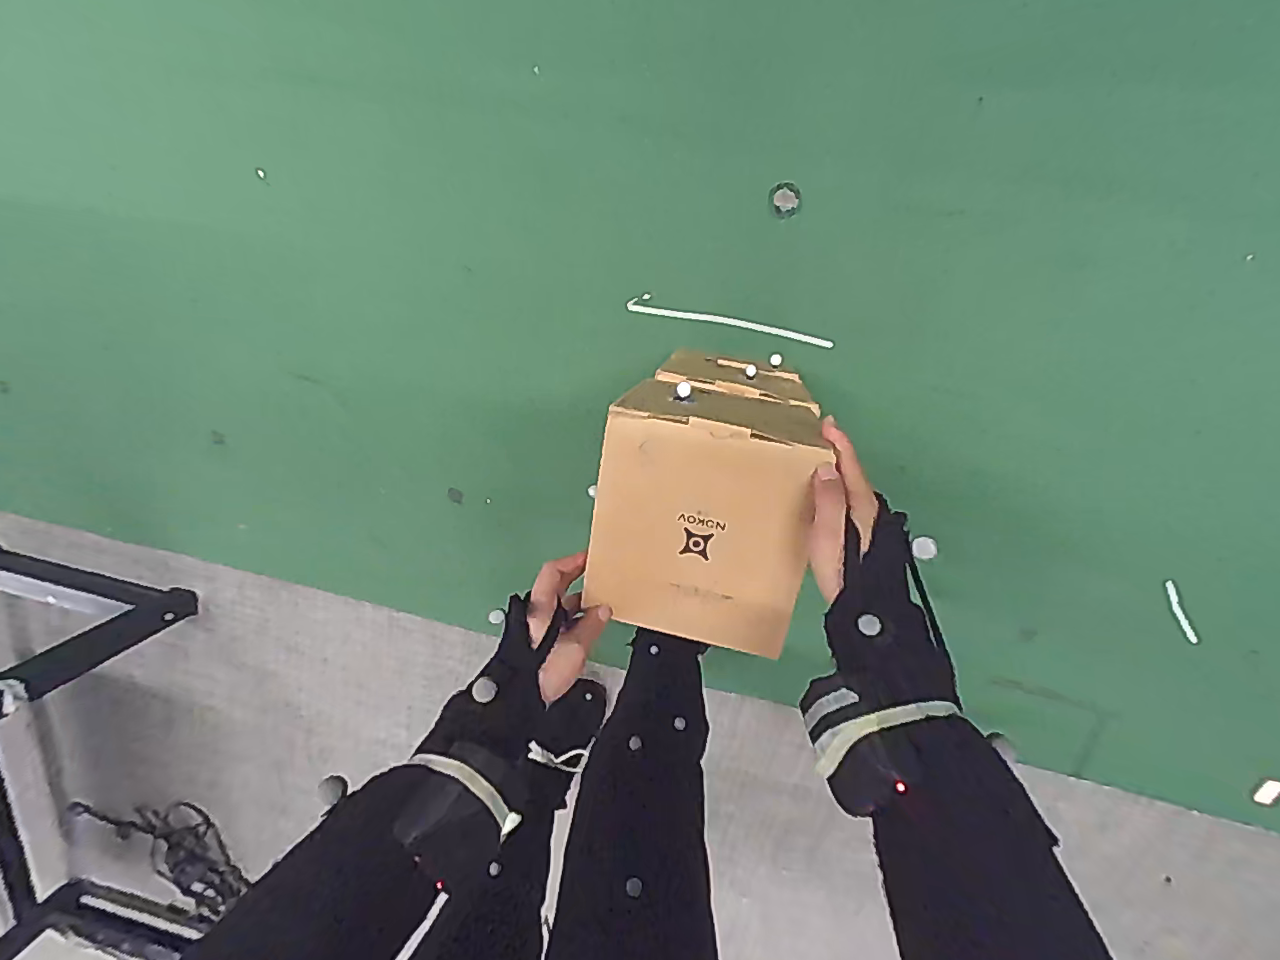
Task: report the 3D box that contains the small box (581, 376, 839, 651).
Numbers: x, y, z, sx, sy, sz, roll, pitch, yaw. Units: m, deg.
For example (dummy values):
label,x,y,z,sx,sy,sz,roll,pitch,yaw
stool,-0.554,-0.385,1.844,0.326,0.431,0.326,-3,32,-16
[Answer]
label,x,y,z,sx,sy,sz,roll,pitch,yaw
small box,0.058,0.013,0.475,0.168,0.176,0.179,12,110,8

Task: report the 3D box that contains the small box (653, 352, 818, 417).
label,x,y,z,sx,sy,sz,roll,pitch,yaw
small box,0.092,-0.041,0.626,0.168,0.176,0.179,13,109,6
